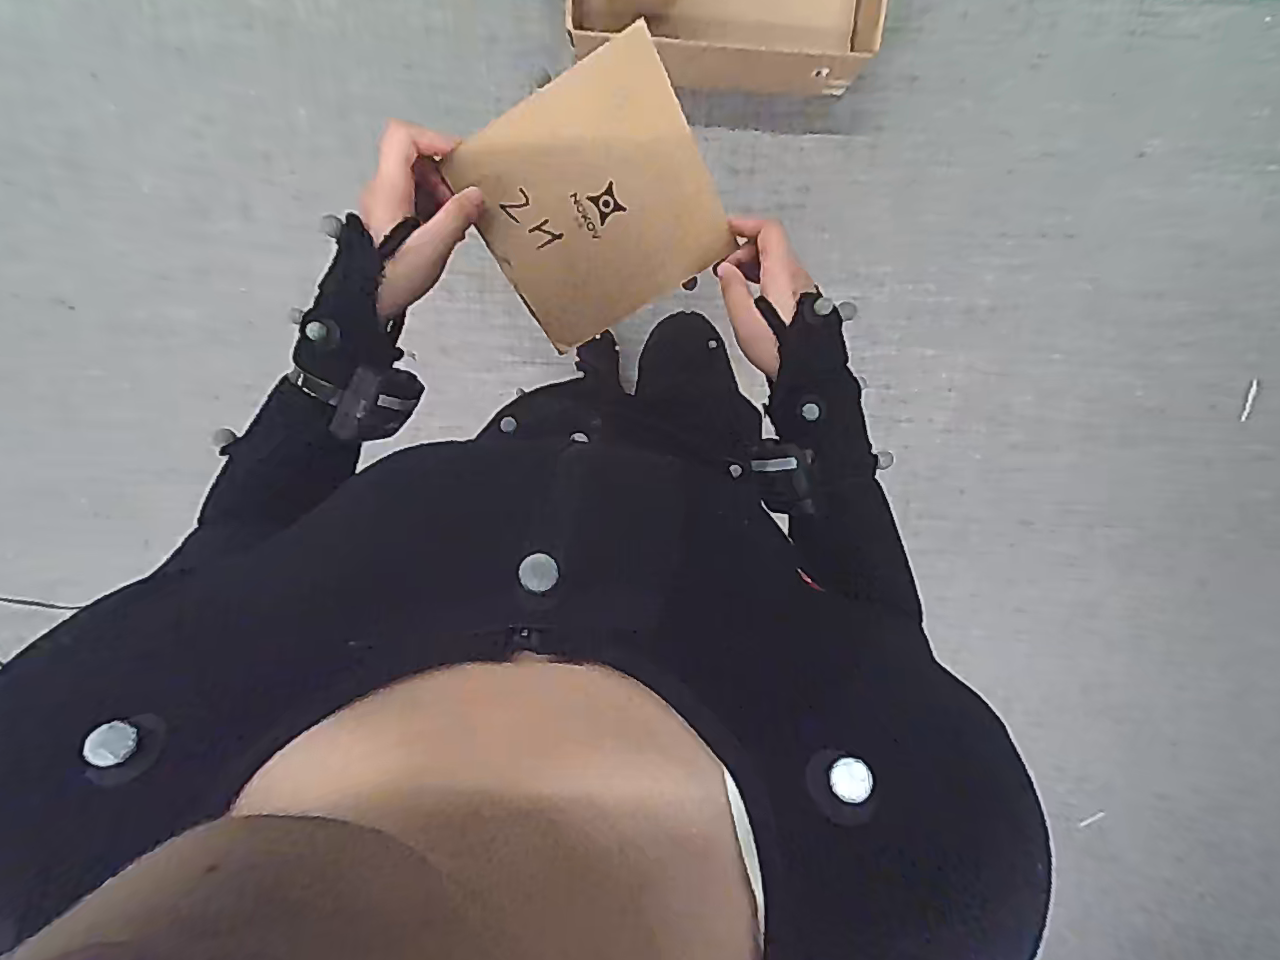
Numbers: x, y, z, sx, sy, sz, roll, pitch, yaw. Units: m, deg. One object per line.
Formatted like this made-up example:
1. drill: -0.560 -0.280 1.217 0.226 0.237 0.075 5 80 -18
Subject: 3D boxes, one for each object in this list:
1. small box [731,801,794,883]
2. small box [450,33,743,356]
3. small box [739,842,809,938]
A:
1. small box: 0.396 1.188 1.781 0.179 0.176 0.168 -1 107 1
2. small box: -0.037 -0.245 0.483 0.179 0.176 0.168 -28 119 10
3. small box: 0.394 1.225 1.622 0.179 0.176 0.168 -4 108 0
